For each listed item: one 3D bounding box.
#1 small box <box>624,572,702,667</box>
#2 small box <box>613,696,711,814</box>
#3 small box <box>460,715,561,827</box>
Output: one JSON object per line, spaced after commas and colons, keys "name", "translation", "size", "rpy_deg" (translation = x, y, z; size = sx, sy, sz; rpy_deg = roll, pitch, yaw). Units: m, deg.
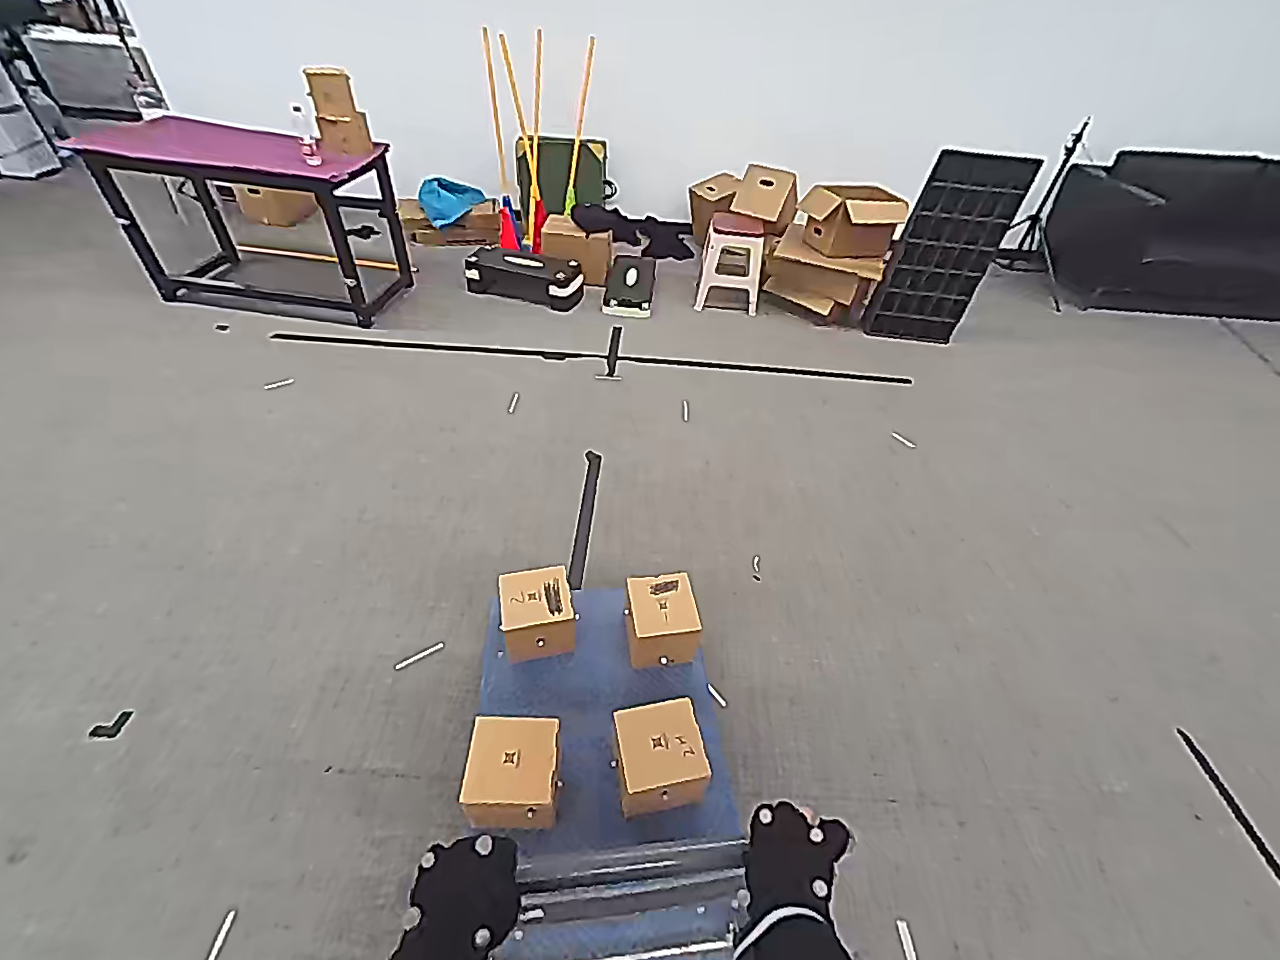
{"name": "small box", "translation": [0.053, 0.366, 1.423], "size": [0.168, 0.176, 0.179], "rpy_deg": [-4, 46, -10]}
{"name": "small box", "translation": [0.040, 0.600, 1.177], "size": [0.179, 0.176, 0.168], "rpy_deg": [-6, 45, -12]}
{"name": "small box", "translation": [-0.262, 0.614, 1.136], "size": [0.179, 0.176, 0.168], "rpy_deg": [3, 43, -4]}
